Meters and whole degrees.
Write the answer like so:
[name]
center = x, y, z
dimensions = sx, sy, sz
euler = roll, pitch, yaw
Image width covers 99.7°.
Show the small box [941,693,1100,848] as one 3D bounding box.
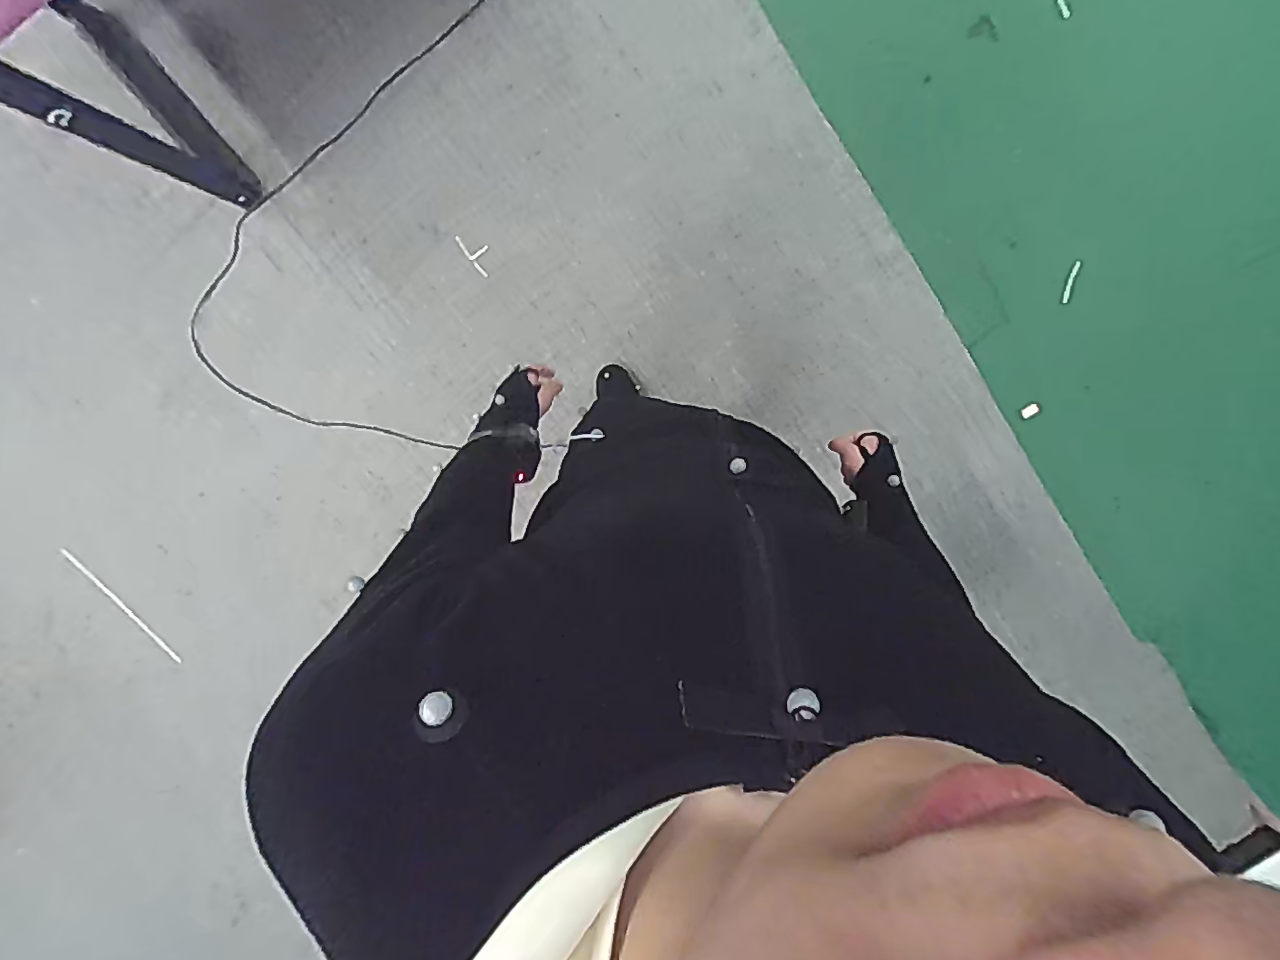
[small box]
center = 0.740, 0.570, 1.079
dimensions = 0.179, 0.176, 0.168
euler = -35, 99, 6
